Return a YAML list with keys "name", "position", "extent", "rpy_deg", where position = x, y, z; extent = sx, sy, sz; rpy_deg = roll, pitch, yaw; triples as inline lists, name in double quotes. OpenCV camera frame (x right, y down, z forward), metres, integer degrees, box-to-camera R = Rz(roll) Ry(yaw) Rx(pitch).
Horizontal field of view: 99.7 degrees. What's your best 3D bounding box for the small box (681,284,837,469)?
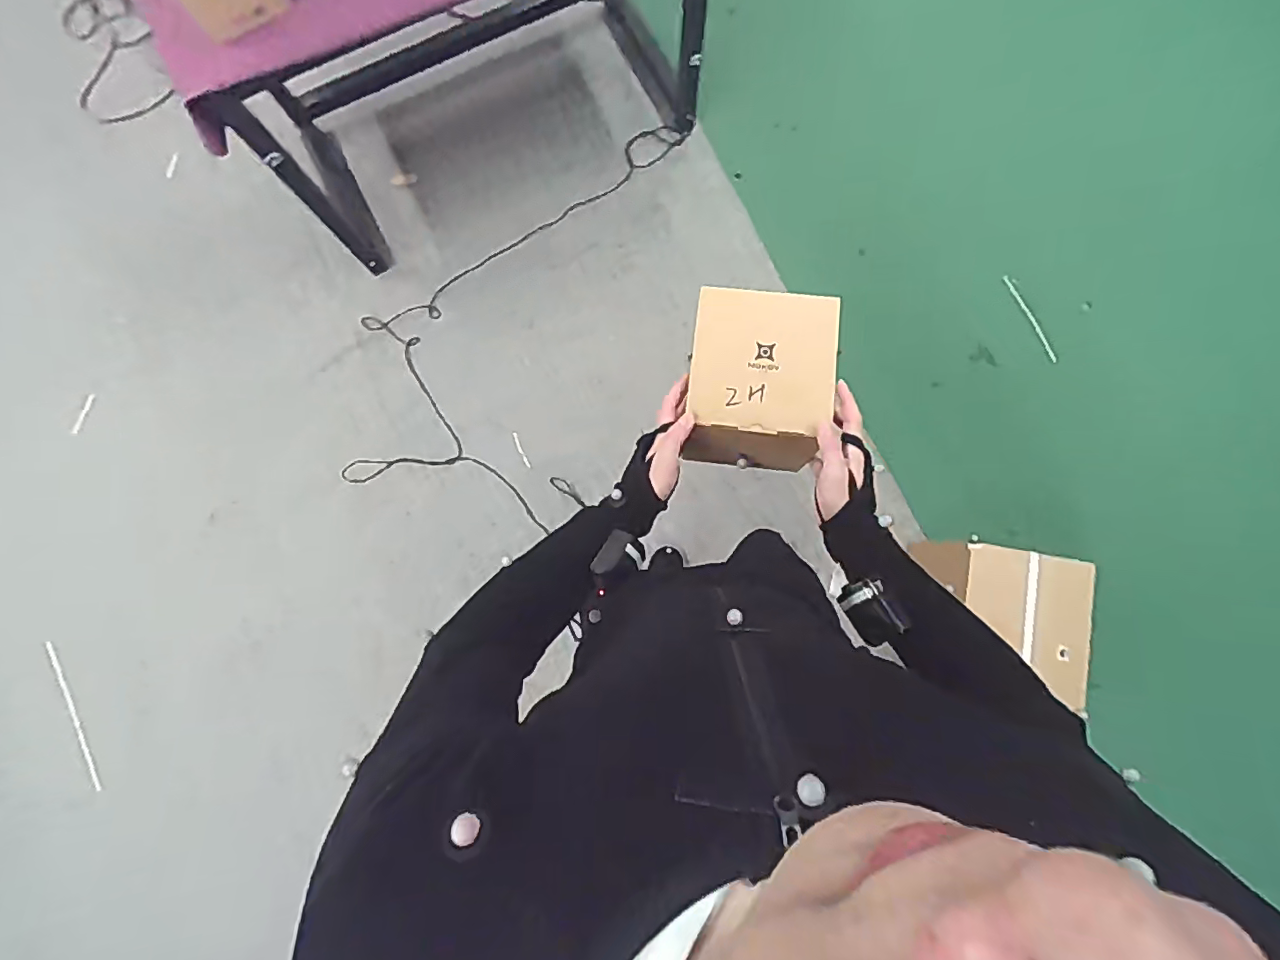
- name: "small box"
  position: [0.144, -0.124, 0.698]
  extent: [0.168, 0.176, 0.179]
  rpy_deg: [6, 78, 5]
